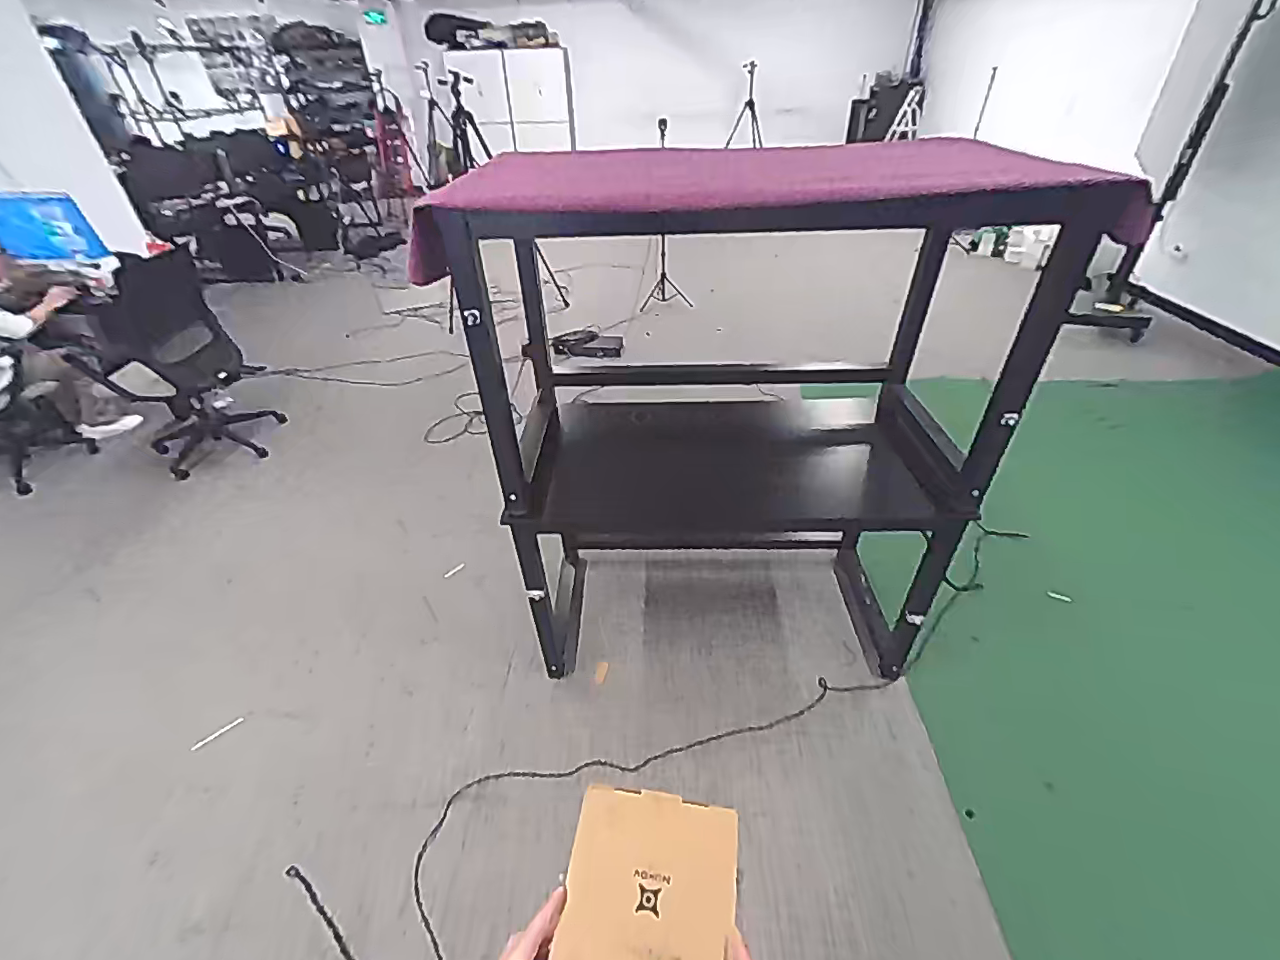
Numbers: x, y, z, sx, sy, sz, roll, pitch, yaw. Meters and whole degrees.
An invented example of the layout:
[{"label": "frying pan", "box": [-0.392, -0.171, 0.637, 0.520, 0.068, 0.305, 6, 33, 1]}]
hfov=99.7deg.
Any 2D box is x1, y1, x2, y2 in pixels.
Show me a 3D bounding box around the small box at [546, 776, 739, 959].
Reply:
[{"label": "small box", "box": [0.008, 0.451, 0.577, 0.168, 0.176, 0.179, 7, 45, 8]}]
